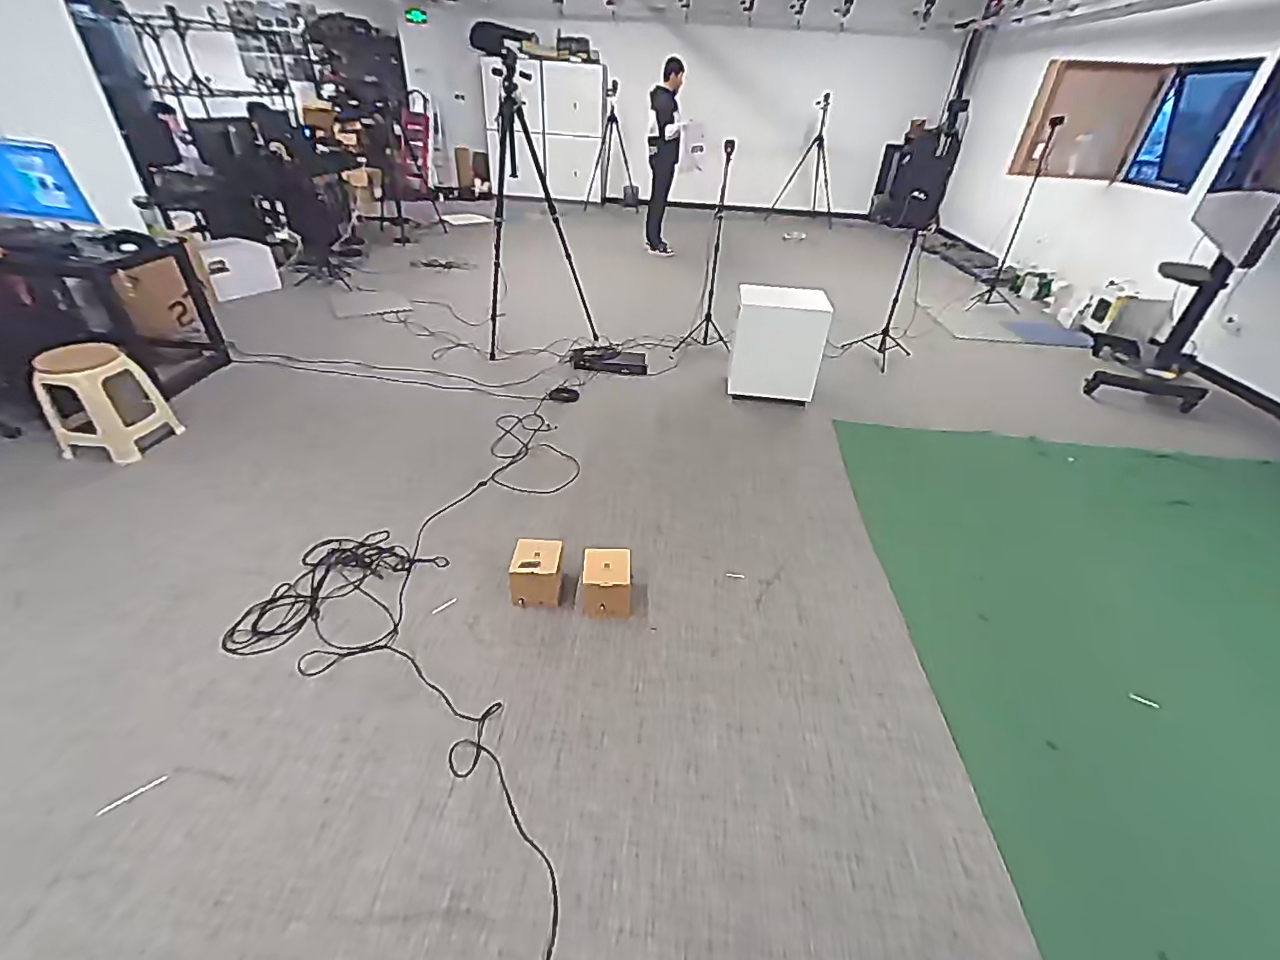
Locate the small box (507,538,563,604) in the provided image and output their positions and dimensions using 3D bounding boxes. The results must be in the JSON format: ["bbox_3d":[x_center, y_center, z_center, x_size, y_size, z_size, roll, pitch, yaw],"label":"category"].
[{"bbox_3d":[-0.375,0.334,1.968,0.168,0.176,0.179,3,35,0],"label":"small box"}]

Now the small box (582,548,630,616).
[{"bbox_3d":[-0.123,0.366,1.947,0.168,0.176,0.179,1,37,-3],"label":"small box"}]
